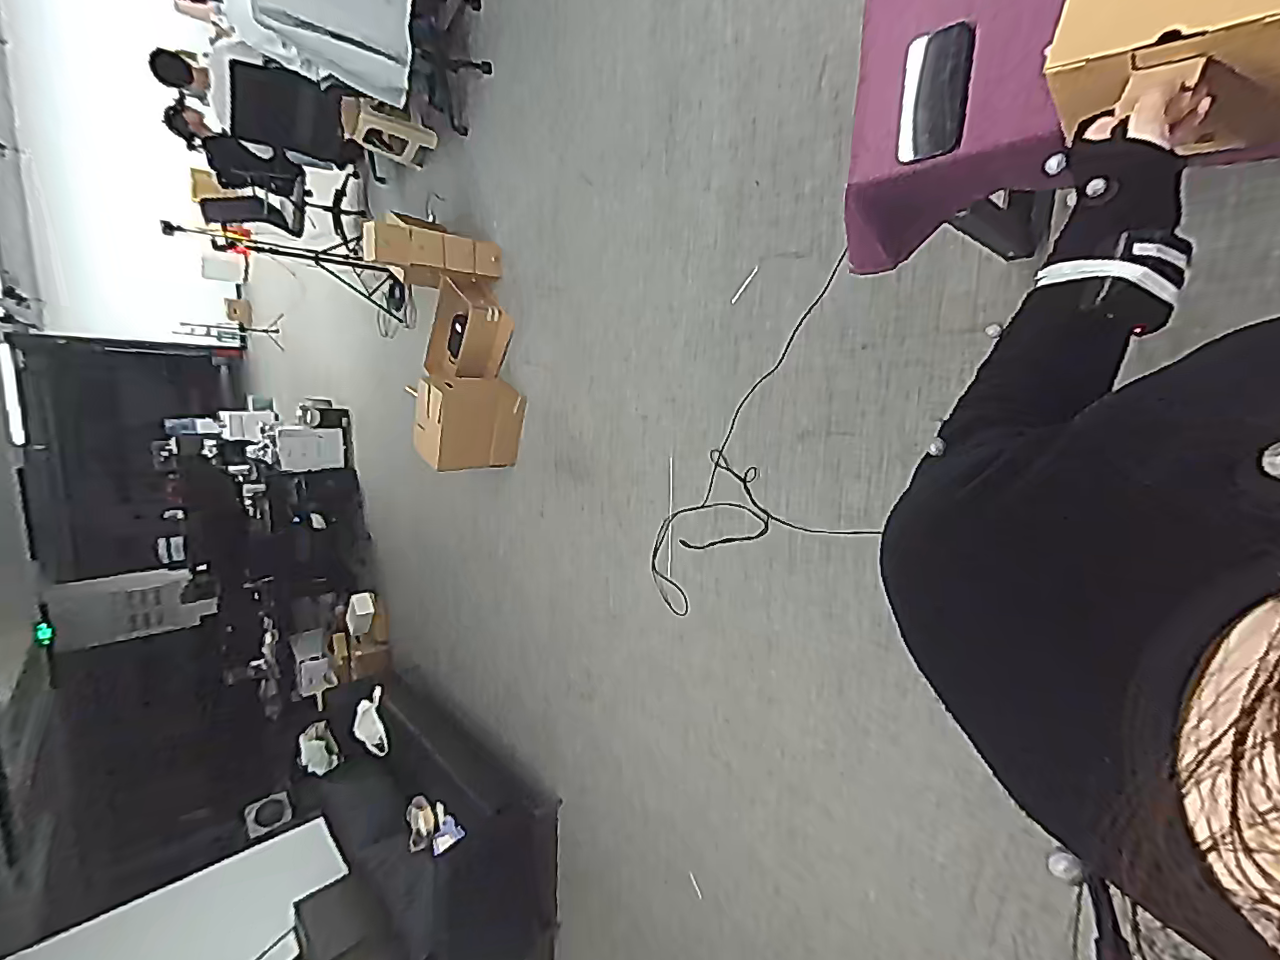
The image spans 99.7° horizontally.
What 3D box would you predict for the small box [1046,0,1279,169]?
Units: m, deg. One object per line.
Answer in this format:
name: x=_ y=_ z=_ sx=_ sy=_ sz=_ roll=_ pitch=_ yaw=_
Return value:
small box: x=0.492 y=-0.409 z=0.471 sx=0.168 sy=0.176 sz=0.179 roll=22 pitch=100 yaw=44
